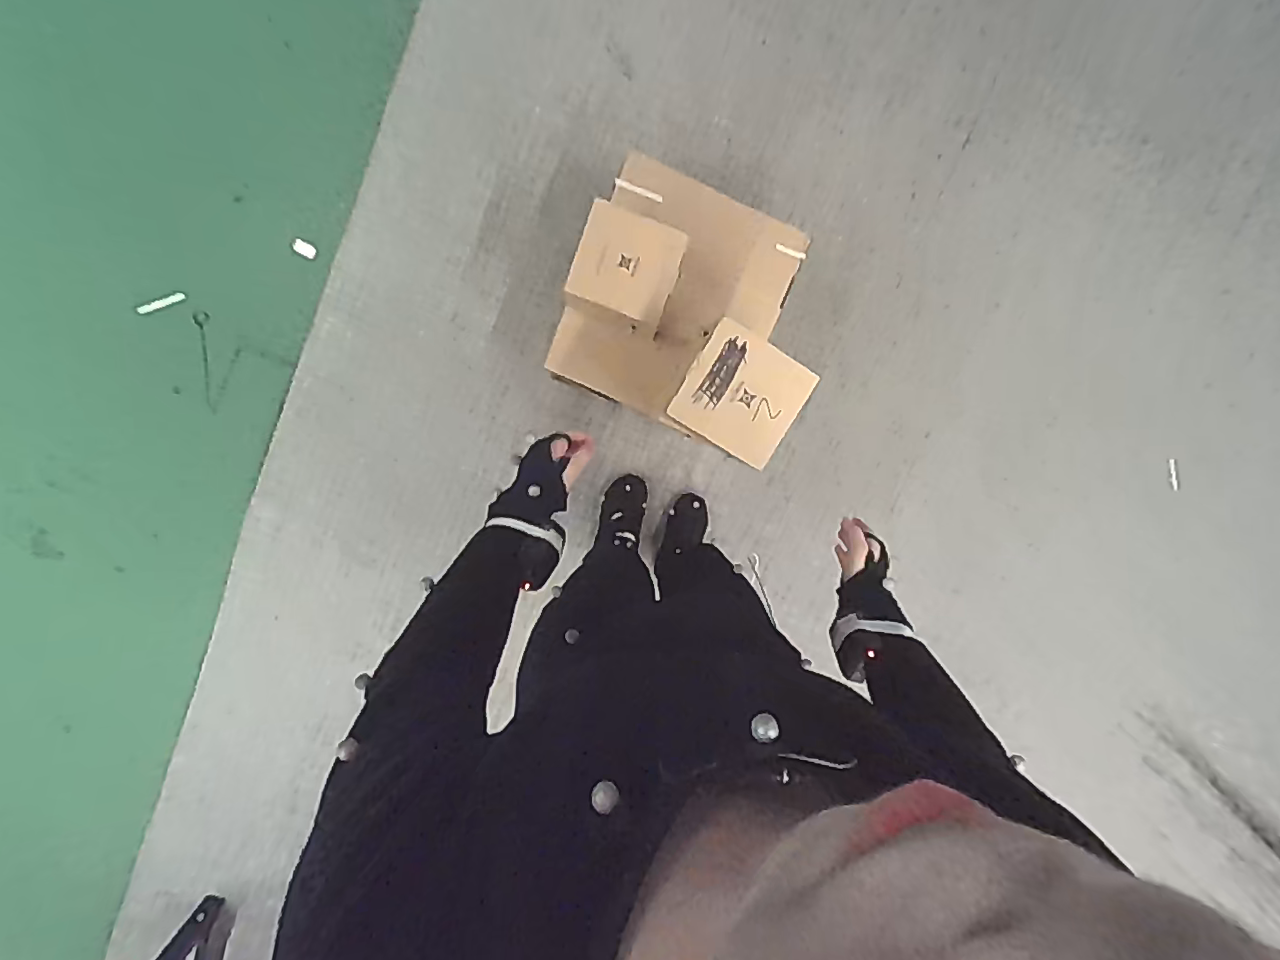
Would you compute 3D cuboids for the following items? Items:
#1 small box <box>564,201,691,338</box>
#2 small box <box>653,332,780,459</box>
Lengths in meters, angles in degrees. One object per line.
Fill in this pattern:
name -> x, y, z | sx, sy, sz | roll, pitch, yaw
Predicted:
small box -> -0.026, -0.375, 1.001 | 0.179, 0.176, 0.168 | 21, 94, -5
small box -> 0.134, -0.158, 1.035 | 0.168, 0.176, 0.179 | 26, 95, -7
